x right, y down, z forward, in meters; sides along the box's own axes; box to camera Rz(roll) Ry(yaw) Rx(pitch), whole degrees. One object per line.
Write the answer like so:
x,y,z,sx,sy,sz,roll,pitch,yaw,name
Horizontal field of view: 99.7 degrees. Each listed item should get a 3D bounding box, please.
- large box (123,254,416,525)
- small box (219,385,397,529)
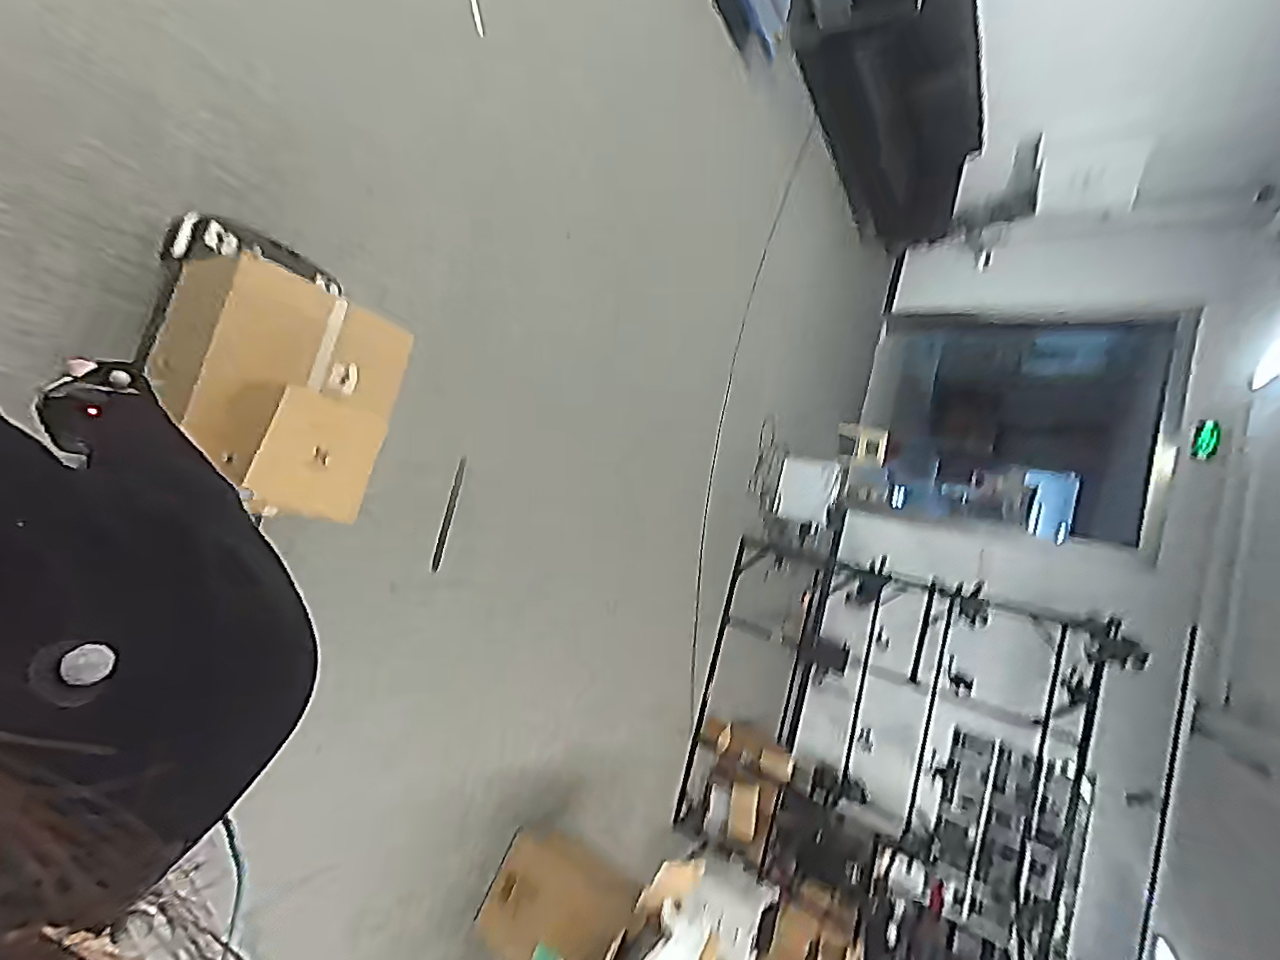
-0.701,-0.152,1.040,0.320,0.320,0.408,24,78,-55,large box
-0.537,-0.038,0.873,0.168,0.176,0.179,32,72,-52,small box
